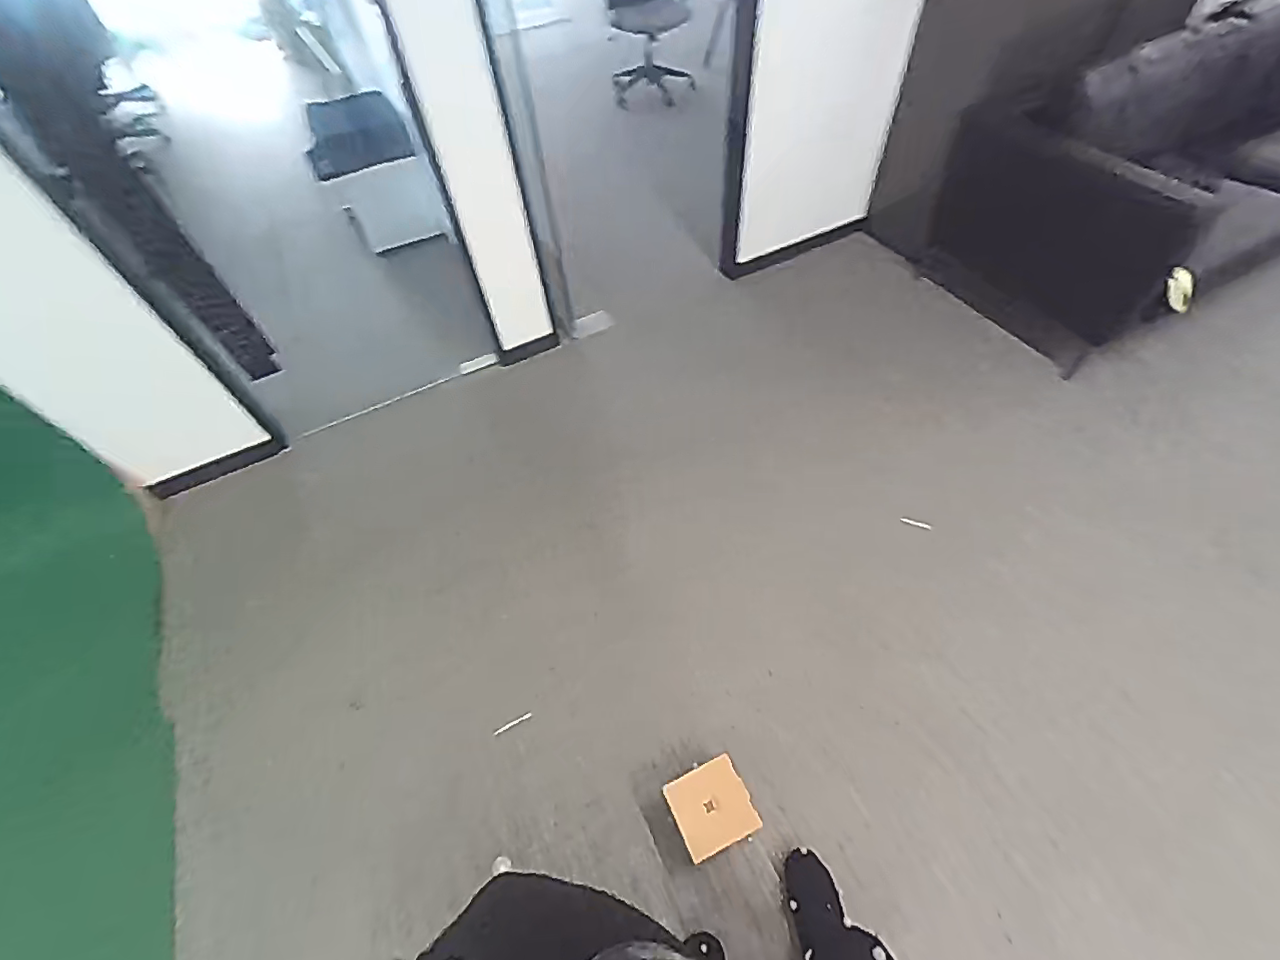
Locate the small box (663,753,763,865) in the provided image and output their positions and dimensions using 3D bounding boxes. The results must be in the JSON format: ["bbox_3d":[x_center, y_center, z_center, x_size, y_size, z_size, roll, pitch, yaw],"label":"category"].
[{"bbox_3d":[0.170,0.782,1.280,0.179,0.176,0.168,-22,55,-12],"label":"small box"}]
